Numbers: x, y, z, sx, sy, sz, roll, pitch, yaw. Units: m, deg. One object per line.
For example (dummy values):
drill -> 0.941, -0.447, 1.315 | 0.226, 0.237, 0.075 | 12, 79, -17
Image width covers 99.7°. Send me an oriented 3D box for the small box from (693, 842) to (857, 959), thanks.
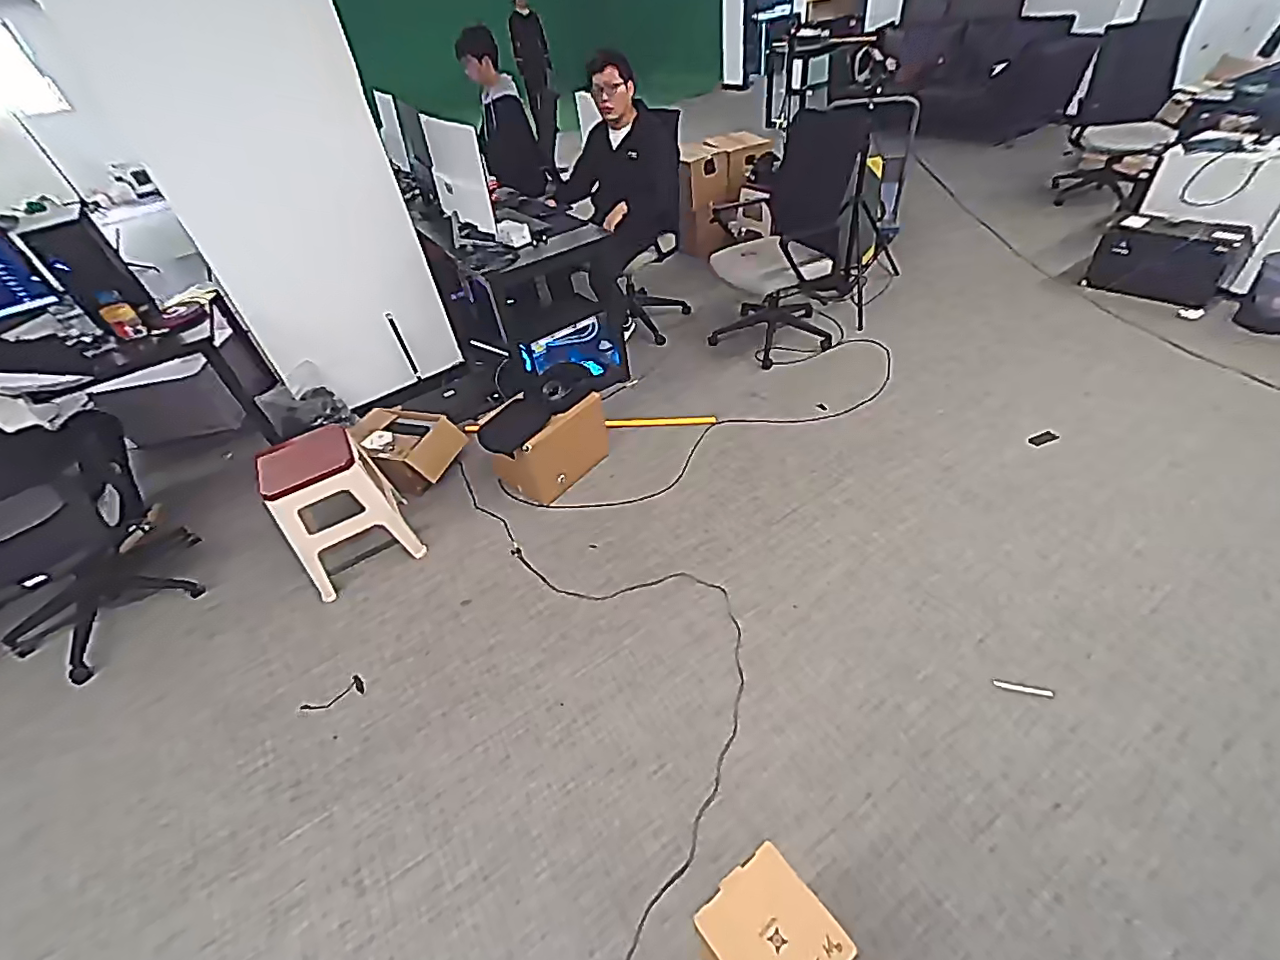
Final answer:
small box -> 0.201, 0.718, 0.837 | 0.168, 0.176, 0.179 | -31, 47, -22
